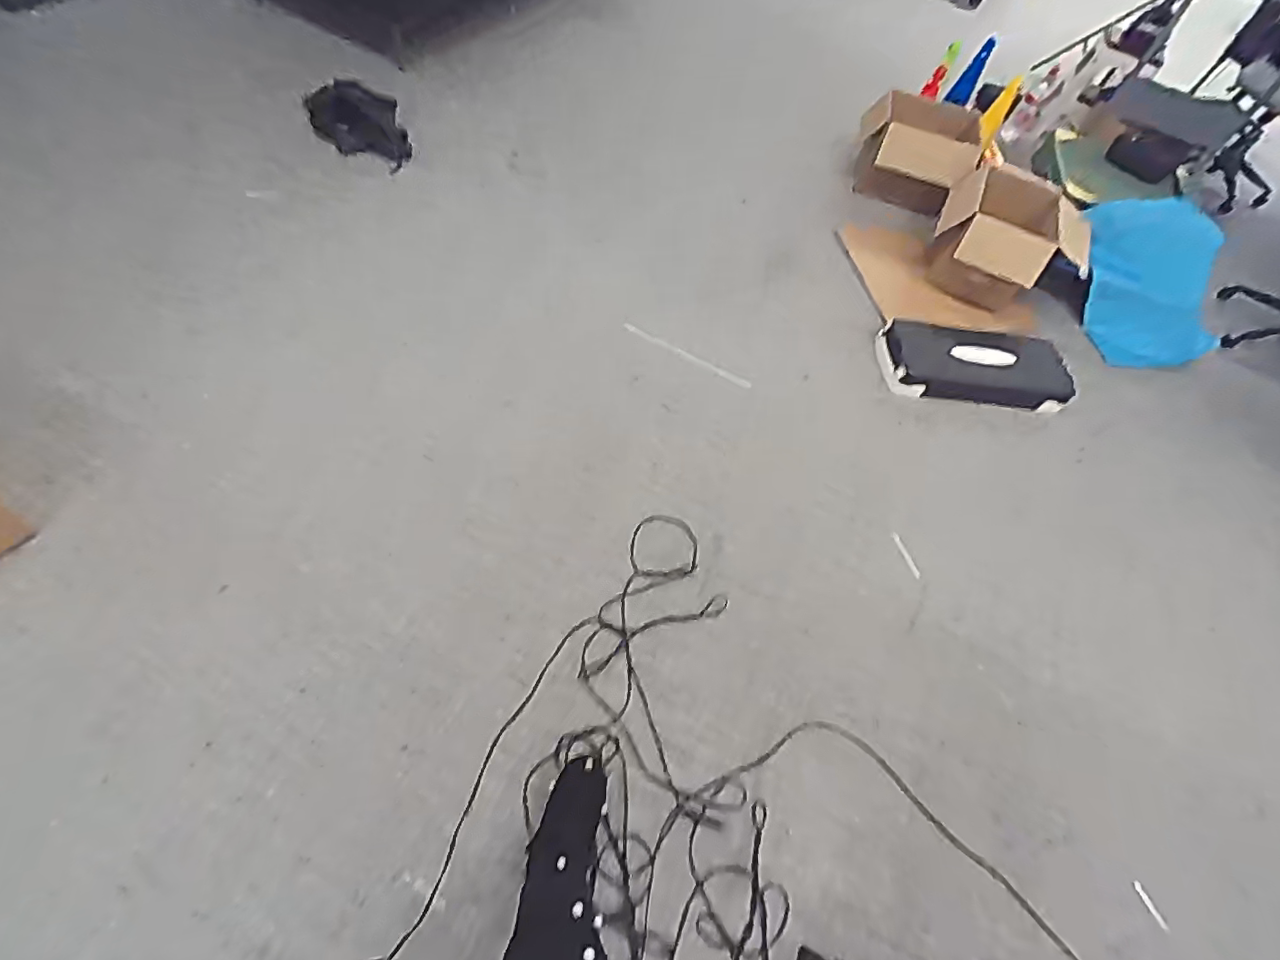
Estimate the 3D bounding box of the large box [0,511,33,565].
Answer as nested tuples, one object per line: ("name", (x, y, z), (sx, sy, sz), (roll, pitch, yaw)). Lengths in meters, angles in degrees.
("large box", (-1.559, 0.114, 1.012), (0.320, 0.320, 0.408), (34, 58, 10))
